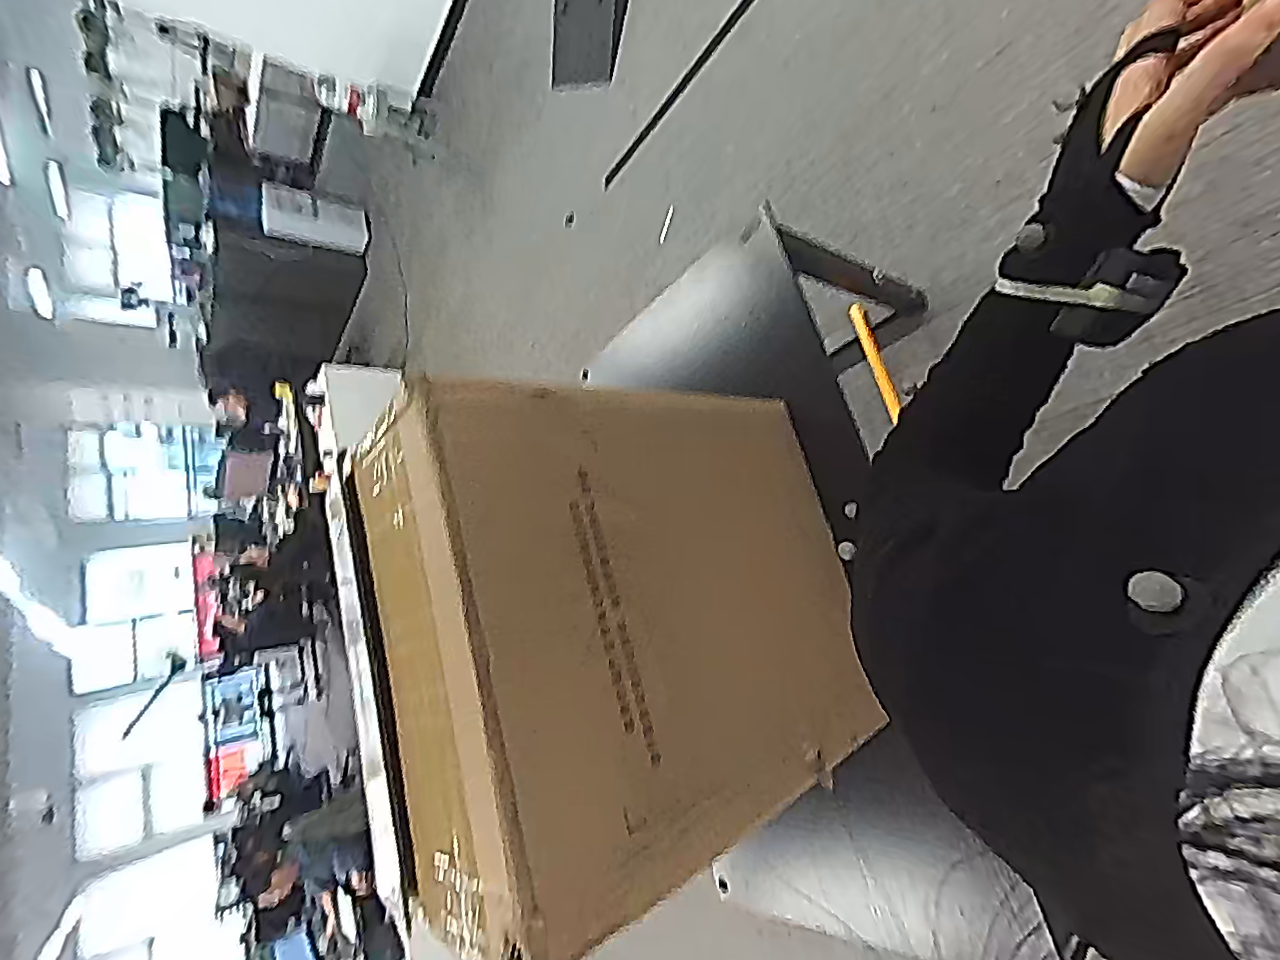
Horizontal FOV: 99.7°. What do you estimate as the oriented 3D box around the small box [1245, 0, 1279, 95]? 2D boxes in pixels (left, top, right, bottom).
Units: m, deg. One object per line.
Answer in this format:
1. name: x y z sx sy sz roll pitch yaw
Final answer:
1. small box: 0.407 -0.317 0.245 0.168 0.176 0.179 7 110 47
